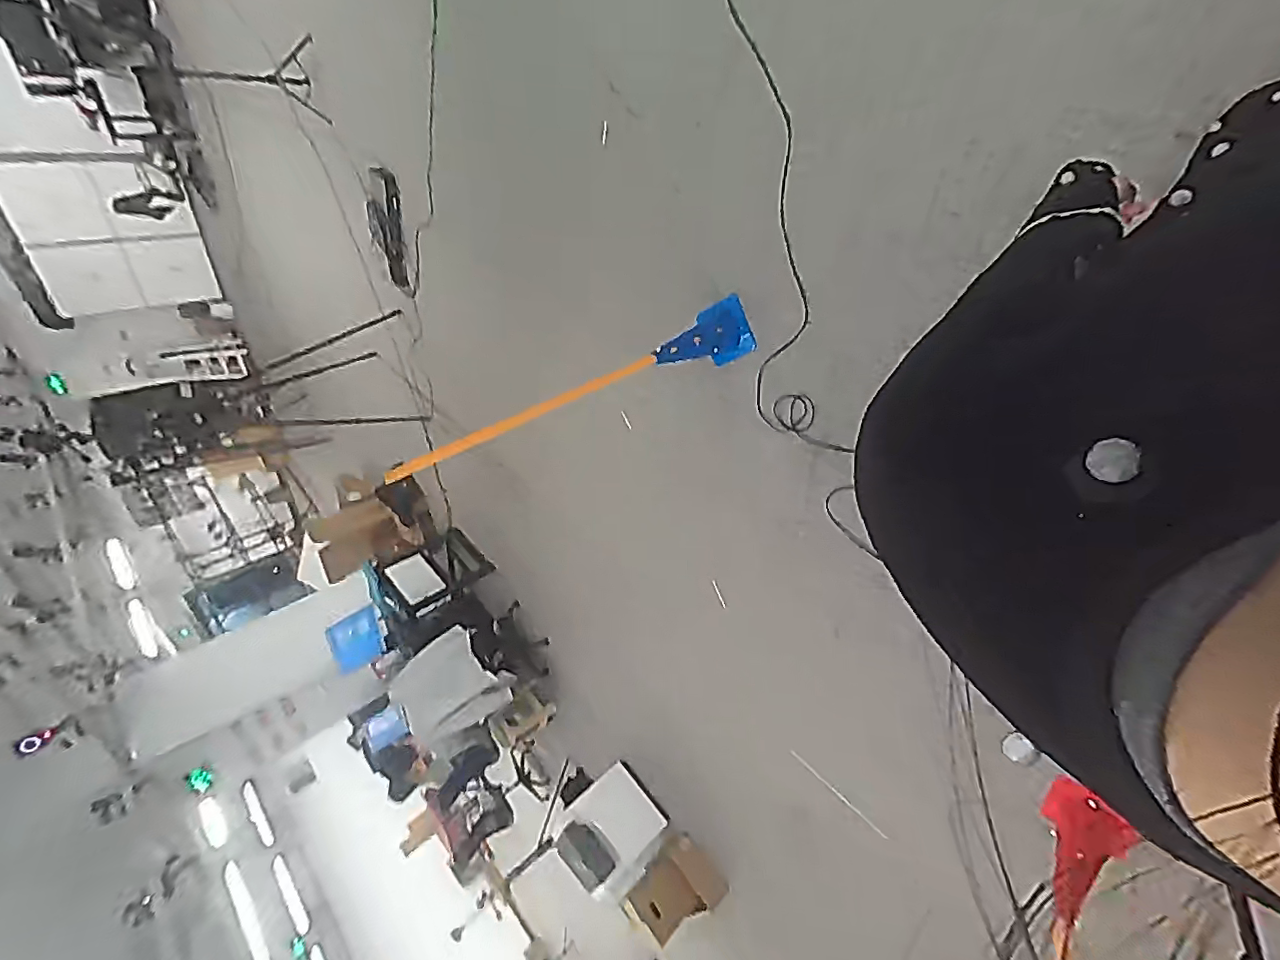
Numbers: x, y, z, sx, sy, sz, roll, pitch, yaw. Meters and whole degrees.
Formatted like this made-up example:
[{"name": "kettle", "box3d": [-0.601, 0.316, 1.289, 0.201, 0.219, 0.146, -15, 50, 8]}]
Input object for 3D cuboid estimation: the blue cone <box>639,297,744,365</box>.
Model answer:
[{"name": "blue cone", "box3d": [0.146, -0.437, 1.749, 0.193, 0.380, 0.192, -17, 99, 54]}]
